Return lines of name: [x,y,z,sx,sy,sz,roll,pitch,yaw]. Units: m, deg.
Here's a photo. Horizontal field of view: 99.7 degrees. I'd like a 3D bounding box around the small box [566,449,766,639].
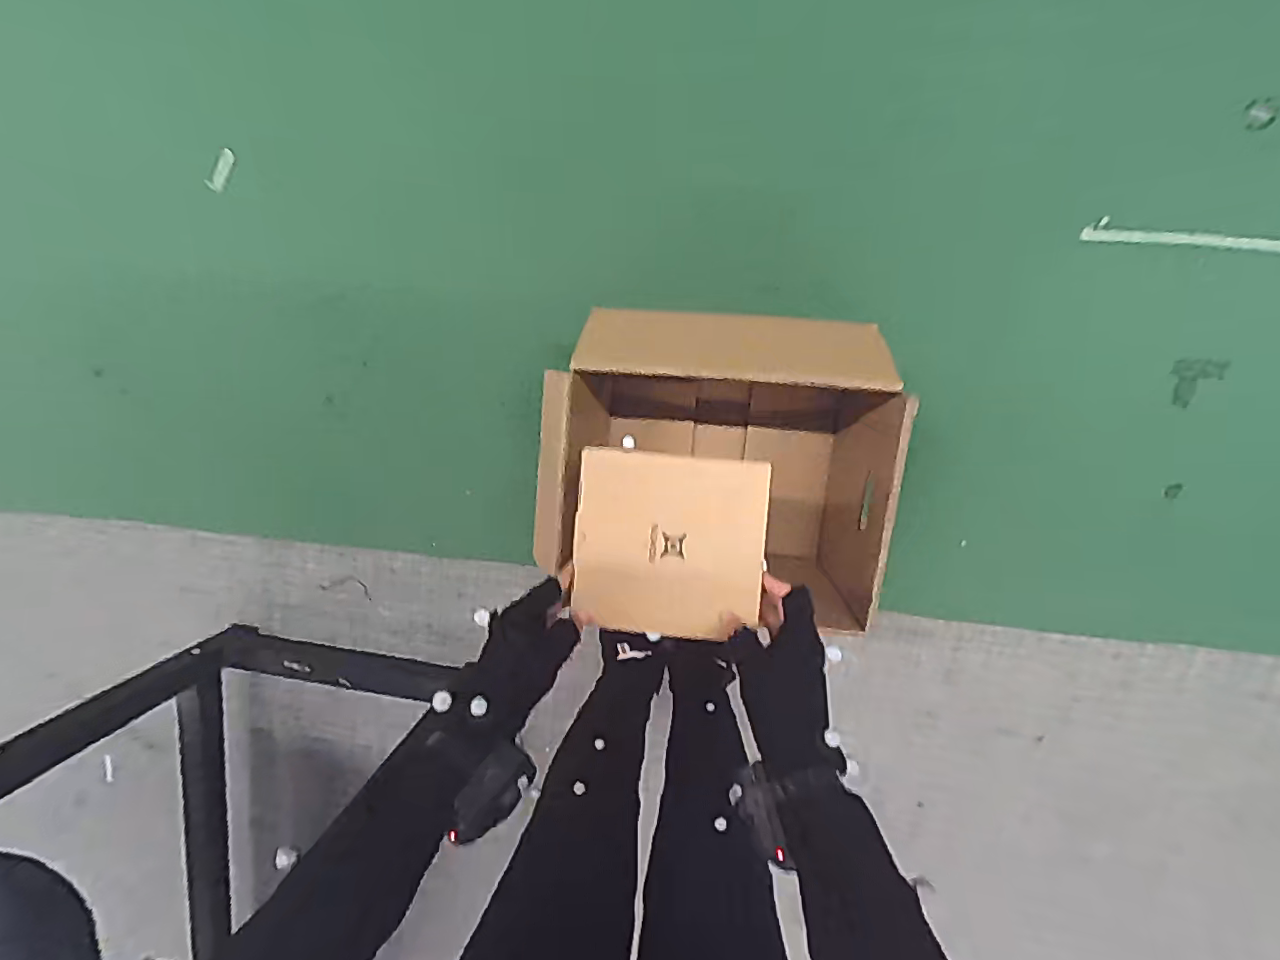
small box: [0.029,0.057,0.580,0.179,0.176,0.168,5,91,5]
